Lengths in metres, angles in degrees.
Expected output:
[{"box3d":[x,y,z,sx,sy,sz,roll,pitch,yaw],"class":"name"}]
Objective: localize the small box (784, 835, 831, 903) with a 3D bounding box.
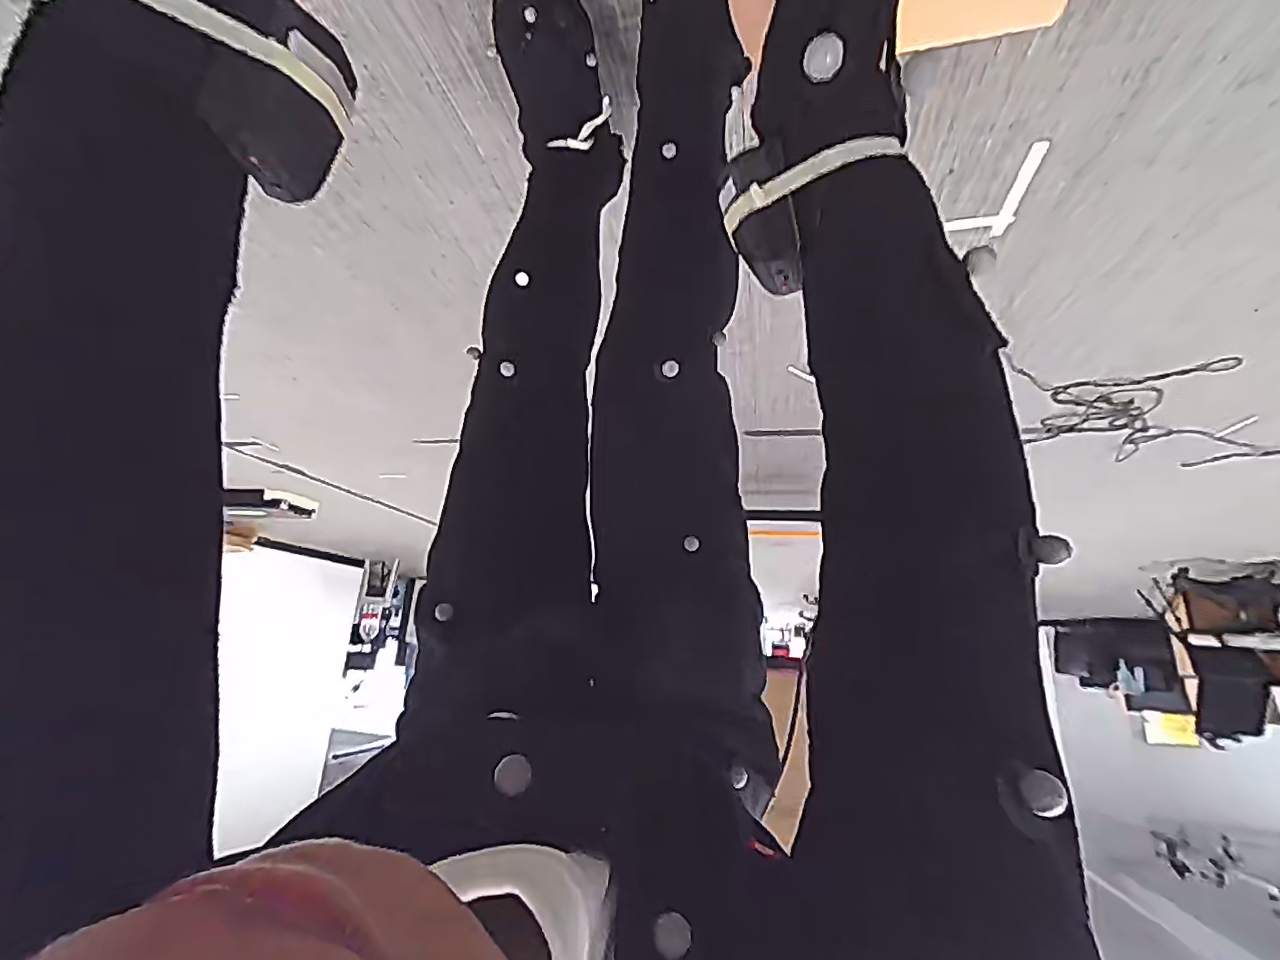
[{"box3d":[0.657,1.520,2.129,0.168,0.176,0.179,-1,162,14],"class":"small box"}]
